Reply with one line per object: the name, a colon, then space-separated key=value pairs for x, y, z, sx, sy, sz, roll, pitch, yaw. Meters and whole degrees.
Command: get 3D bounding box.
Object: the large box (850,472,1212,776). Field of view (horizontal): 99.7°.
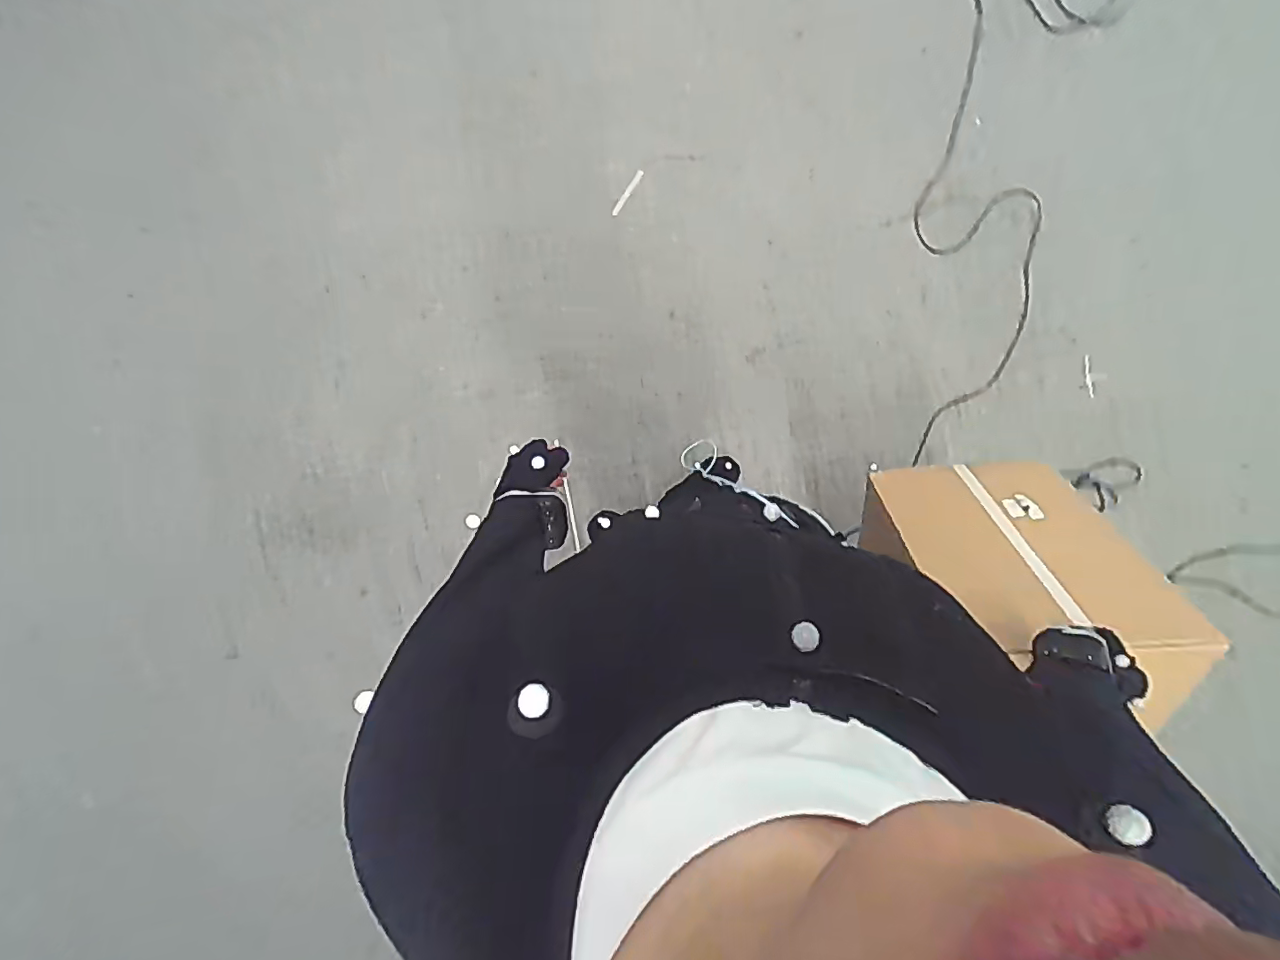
large box: x=0.585 y=0.230 z=0.928 sx=0.320 sy=0.408 sz=0.320 roll=-3 pitch=125 yaw=5
